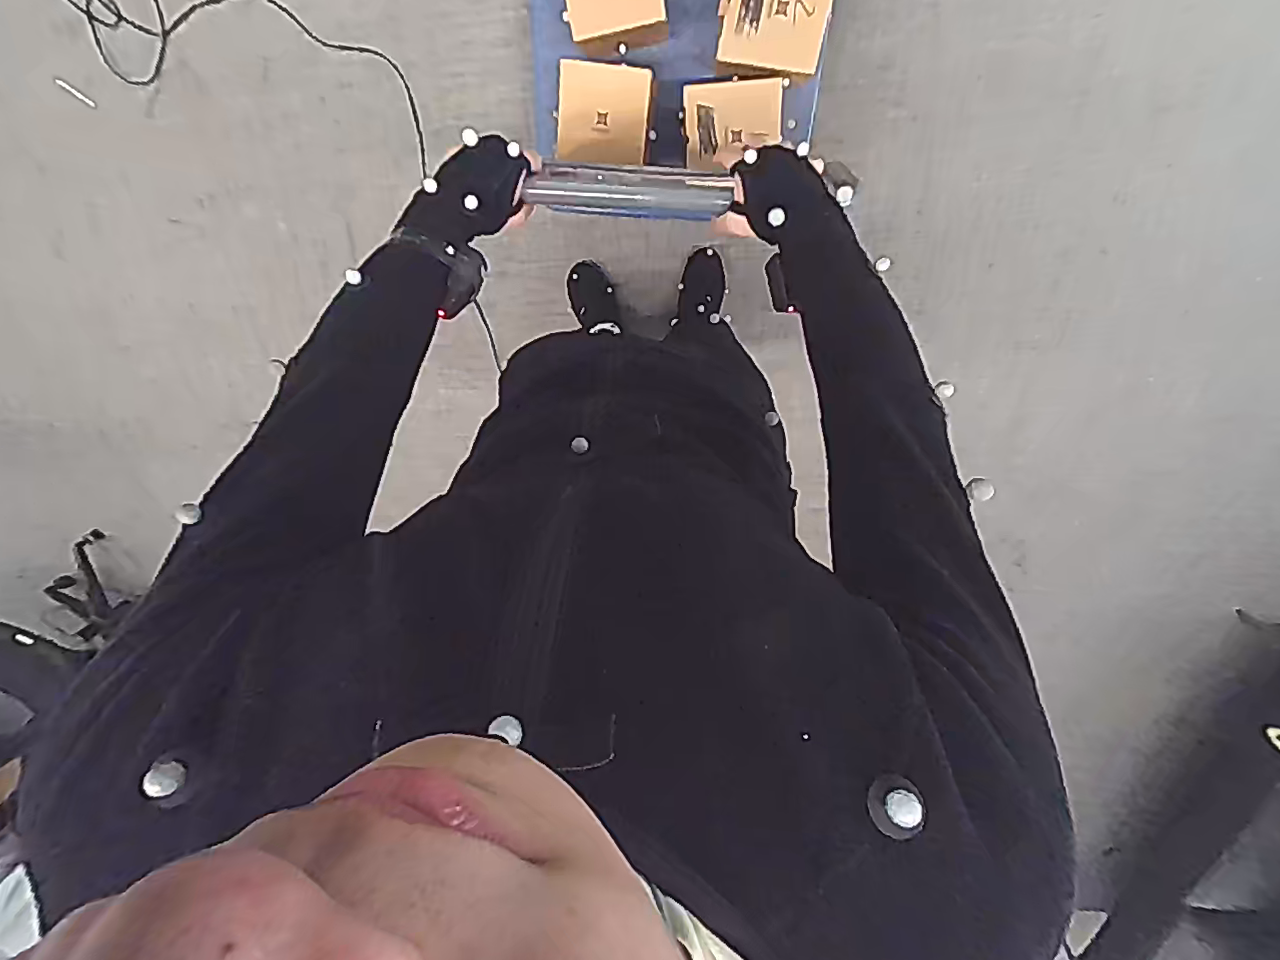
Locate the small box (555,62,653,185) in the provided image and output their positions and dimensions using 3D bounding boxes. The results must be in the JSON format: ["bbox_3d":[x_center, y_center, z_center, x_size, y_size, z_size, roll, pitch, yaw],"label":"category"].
[{"bbox_3d":[-0.068,-0.694,1.071,0.168,0.176,0.179,8,119,1],"label":"small box"}]

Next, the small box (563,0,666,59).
[{"bbox_3d":[-0.046,-0.879,0.963,0.168,0.176,0.179,-6,118,8],"label":"small box"}]
